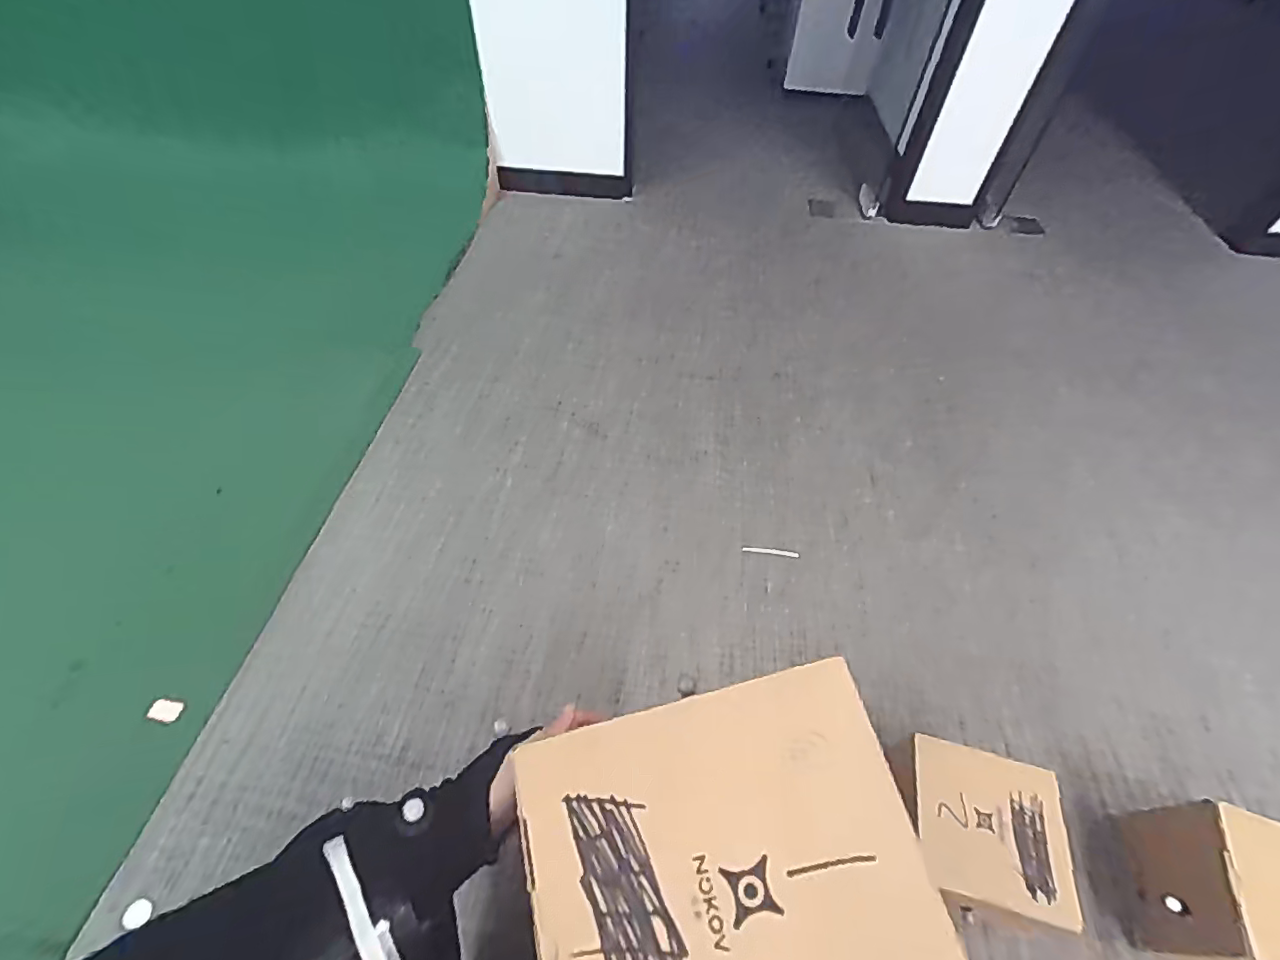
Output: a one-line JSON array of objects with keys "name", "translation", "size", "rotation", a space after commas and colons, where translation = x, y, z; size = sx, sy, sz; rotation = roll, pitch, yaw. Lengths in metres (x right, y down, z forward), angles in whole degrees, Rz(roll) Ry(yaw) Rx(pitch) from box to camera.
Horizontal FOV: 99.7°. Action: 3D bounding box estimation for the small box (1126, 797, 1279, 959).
[{"name": "small box", "translation": [0.752, 0.528, 0.669], "size": [0.179, 0.176, 0.168], "rotation": [20, 54, 12]}]
